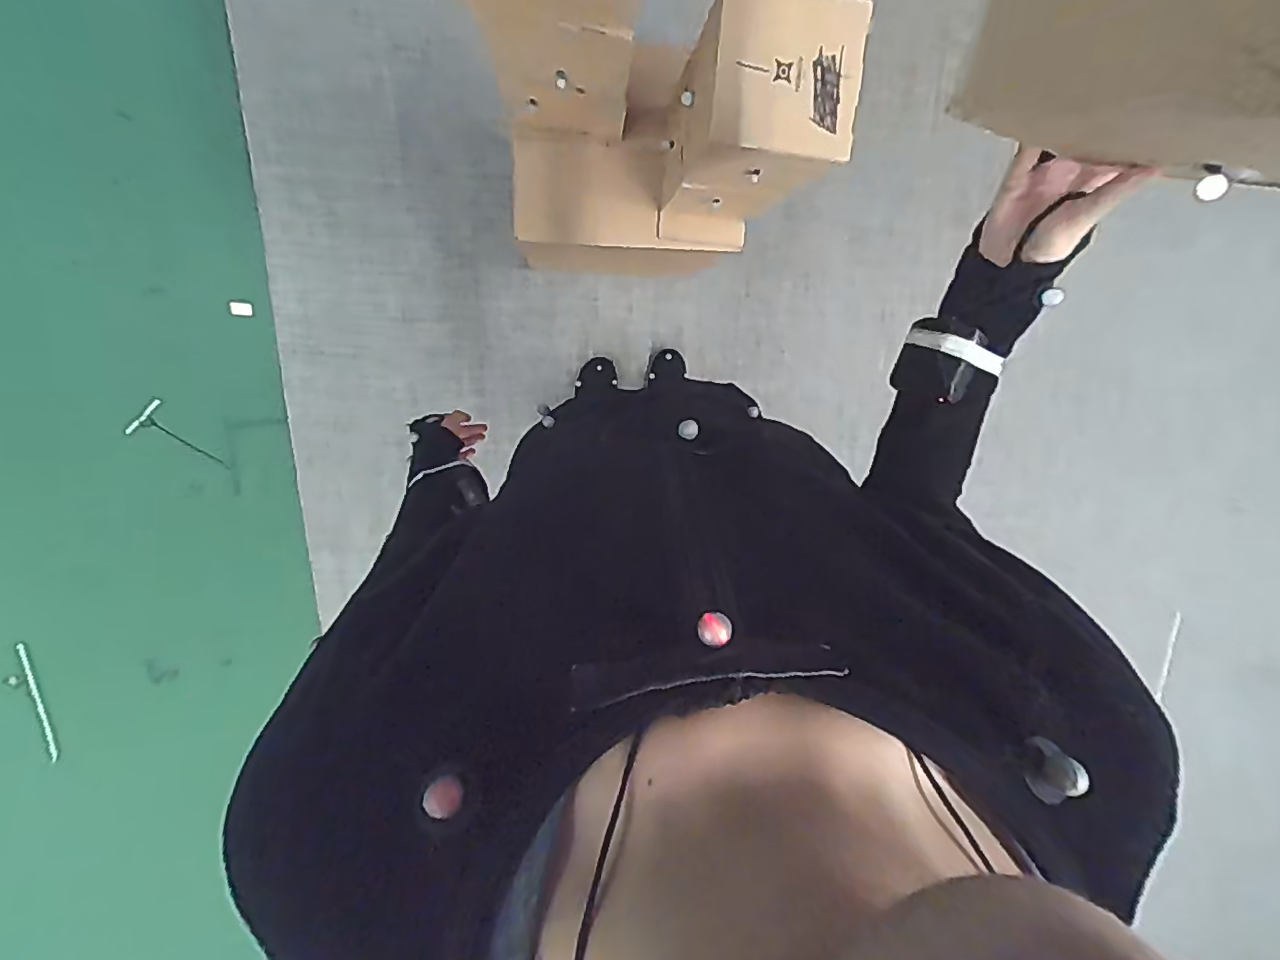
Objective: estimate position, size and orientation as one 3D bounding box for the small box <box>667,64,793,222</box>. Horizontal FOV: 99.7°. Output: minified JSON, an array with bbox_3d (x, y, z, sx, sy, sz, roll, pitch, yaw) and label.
[{"bbox_3d":[0.141,-0.517,0.854,0.179,0.176,0.168,2,105,-6],"label":"small box"}]

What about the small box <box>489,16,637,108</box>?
[{"bbox_3d":[-0.084,-0.590,0.648,0.168,0.176,0.179,5,103,-5],"label":"small box"}]

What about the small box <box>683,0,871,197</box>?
[{"bbox_3d":[0.162,-0.479,0.696,0.179,0.176,0.168,3,104,-6],"label":"small box"}]

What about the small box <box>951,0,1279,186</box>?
[{"bbox_3d":[0.292,-0.238,0.242,0.176,0.179,0.168,-1,122,-23],"label":"small box"}]
